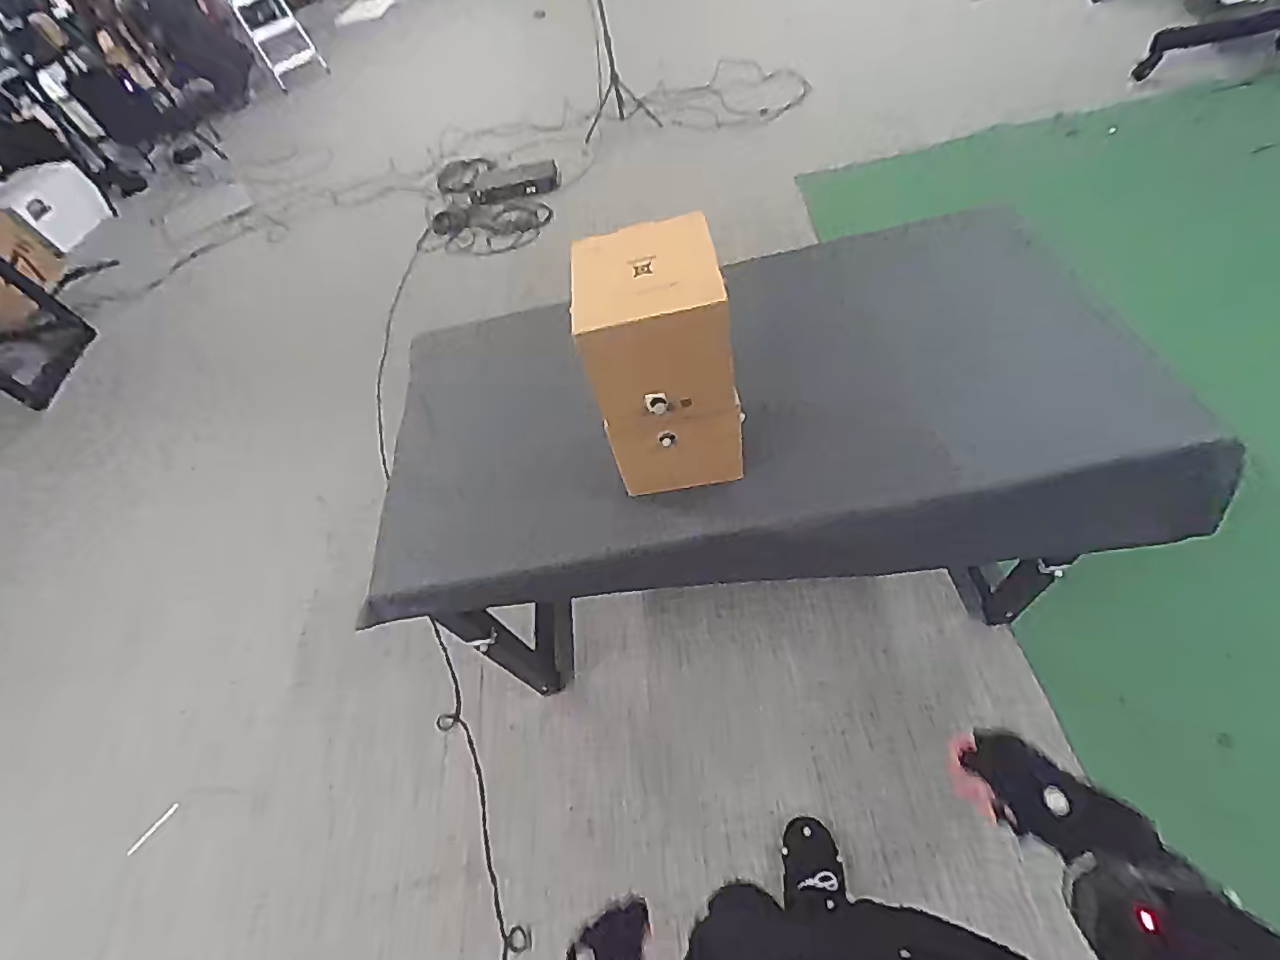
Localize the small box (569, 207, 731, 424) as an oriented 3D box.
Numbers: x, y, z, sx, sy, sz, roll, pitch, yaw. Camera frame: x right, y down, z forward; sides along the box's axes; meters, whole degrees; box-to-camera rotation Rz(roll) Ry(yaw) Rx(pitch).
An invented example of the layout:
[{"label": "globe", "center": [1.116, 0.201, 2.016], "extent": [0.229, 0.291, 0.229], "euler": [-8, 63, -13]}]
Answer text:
[{"label": "small box", "center": [0.015, -0.197, 0.670], "extent": [0.168, 0.176, 0.179], "euler": [-11, 56, 7]}]

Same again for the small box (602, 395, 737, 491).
[{"label": "small box", "center": [0.045, -0.100, 0.816], "extent": [0.179, 0.176, 0.168], "euler": [-9, 56, 6]}]
